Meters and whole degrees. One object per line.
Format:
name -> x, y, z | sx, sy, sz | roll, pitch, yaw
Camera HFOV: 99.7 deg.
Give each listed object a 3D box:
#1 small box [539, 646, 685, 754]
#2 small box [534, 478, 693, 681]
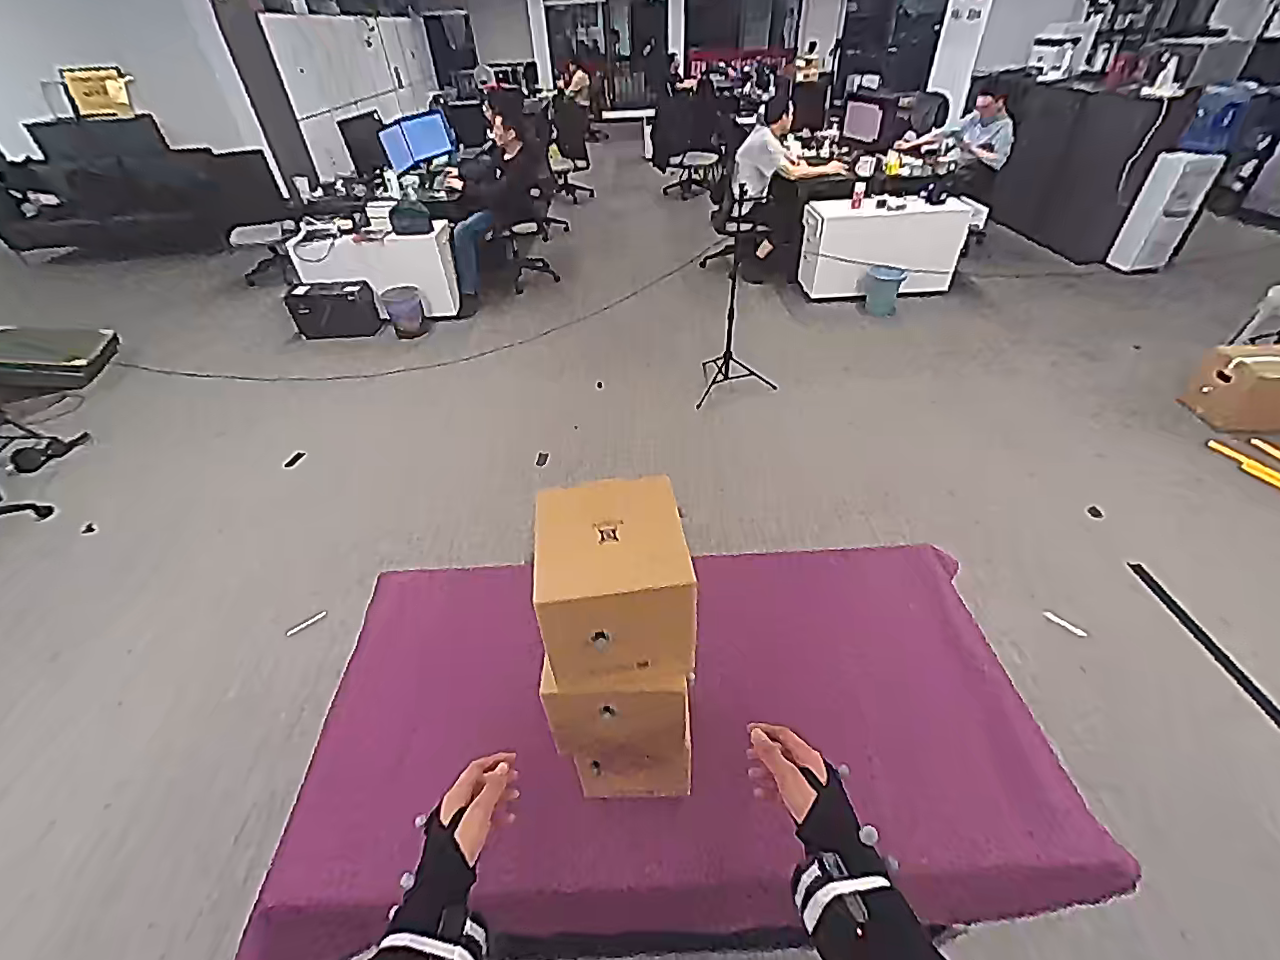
small box -> -0.028, 0.258, 0.743 | 0.179, 0.176, 0.168 | -1, 40, 2
small box -> -0.030, 0.123, 0.653 | 0.168, 0.176, 0.179 | -6, 39, -4
